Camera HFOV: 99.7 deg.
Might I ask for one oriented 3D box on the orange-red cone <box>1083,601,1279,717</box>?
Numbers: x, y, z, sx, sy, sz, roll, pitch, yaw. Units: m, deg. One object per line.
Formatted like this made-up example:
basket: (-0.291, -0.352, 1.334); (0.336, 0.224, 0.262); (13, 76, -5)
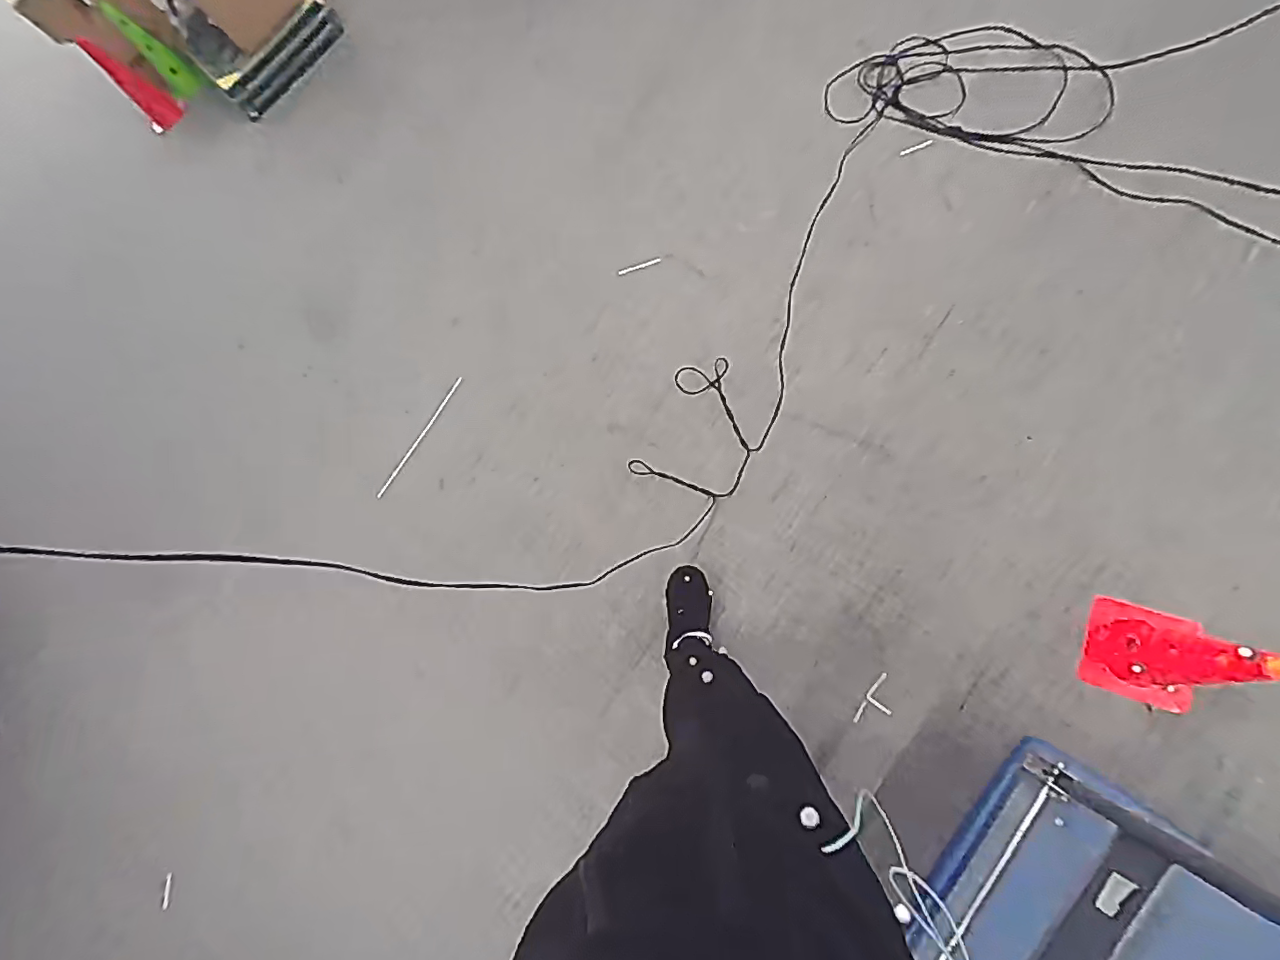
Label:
orange-red cone: (1.043, 0.339, 1.005); (0.198, 0.360, 0.199); (18, 80, 18)
